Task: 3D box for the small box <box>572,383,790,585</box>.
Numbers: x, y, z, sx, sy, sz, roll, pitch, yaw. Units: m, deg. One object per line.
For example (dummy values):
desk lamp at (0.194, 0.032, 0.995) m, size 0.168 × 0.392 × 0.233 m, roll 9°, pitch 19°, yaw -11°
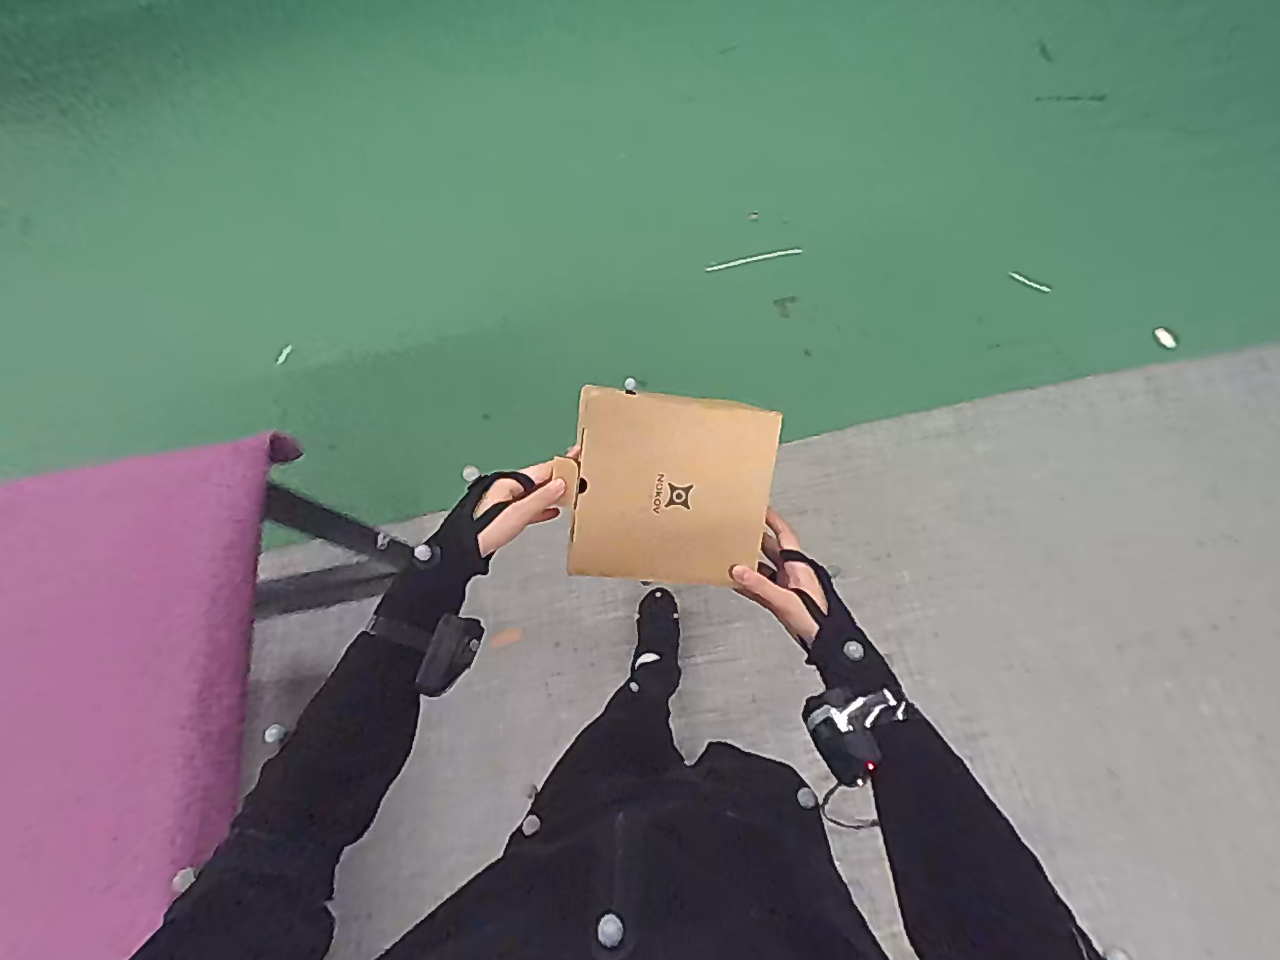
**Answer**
small box at (0.029, -0.007, 0.552) m, size 0.179 × 0.176 × 0.168 m, roll 6°, pitch 100°, yaw -5°
